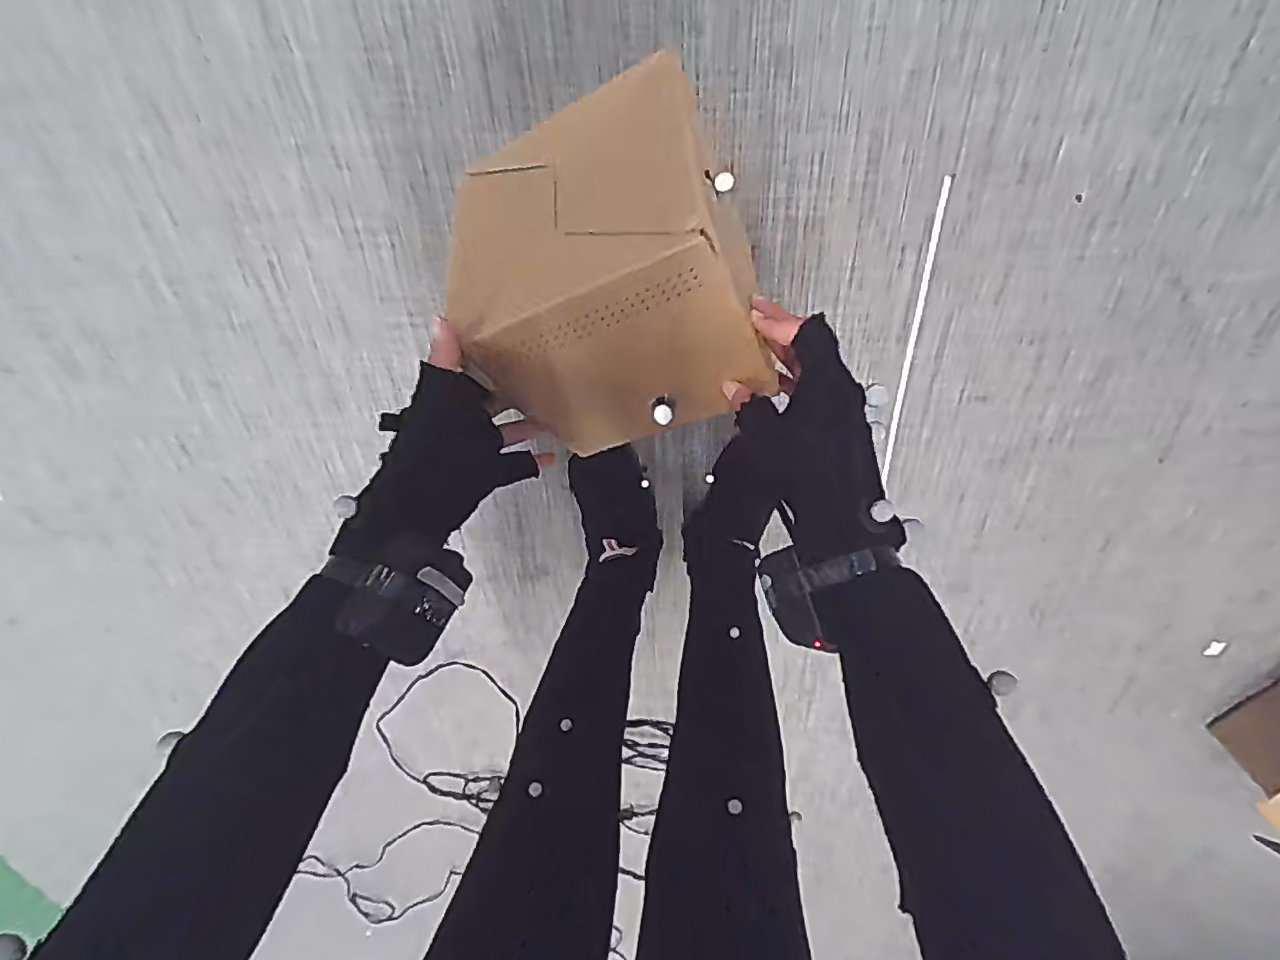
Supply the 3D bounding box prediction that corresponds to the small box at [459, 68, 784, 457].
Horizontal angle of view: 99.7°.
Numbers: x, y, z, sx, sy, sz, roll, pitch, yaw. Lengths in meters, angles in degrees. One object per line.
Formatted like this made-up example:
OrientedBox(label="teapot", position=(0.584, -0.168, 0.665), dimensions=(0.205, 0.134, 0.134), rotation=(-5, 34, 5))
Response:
OrientedBox(label="small box", position=(-0.014, -0.140, 0.394), dimensions=(0.179, 0.168, 0.176), rotation=(-15, 153, 25))
